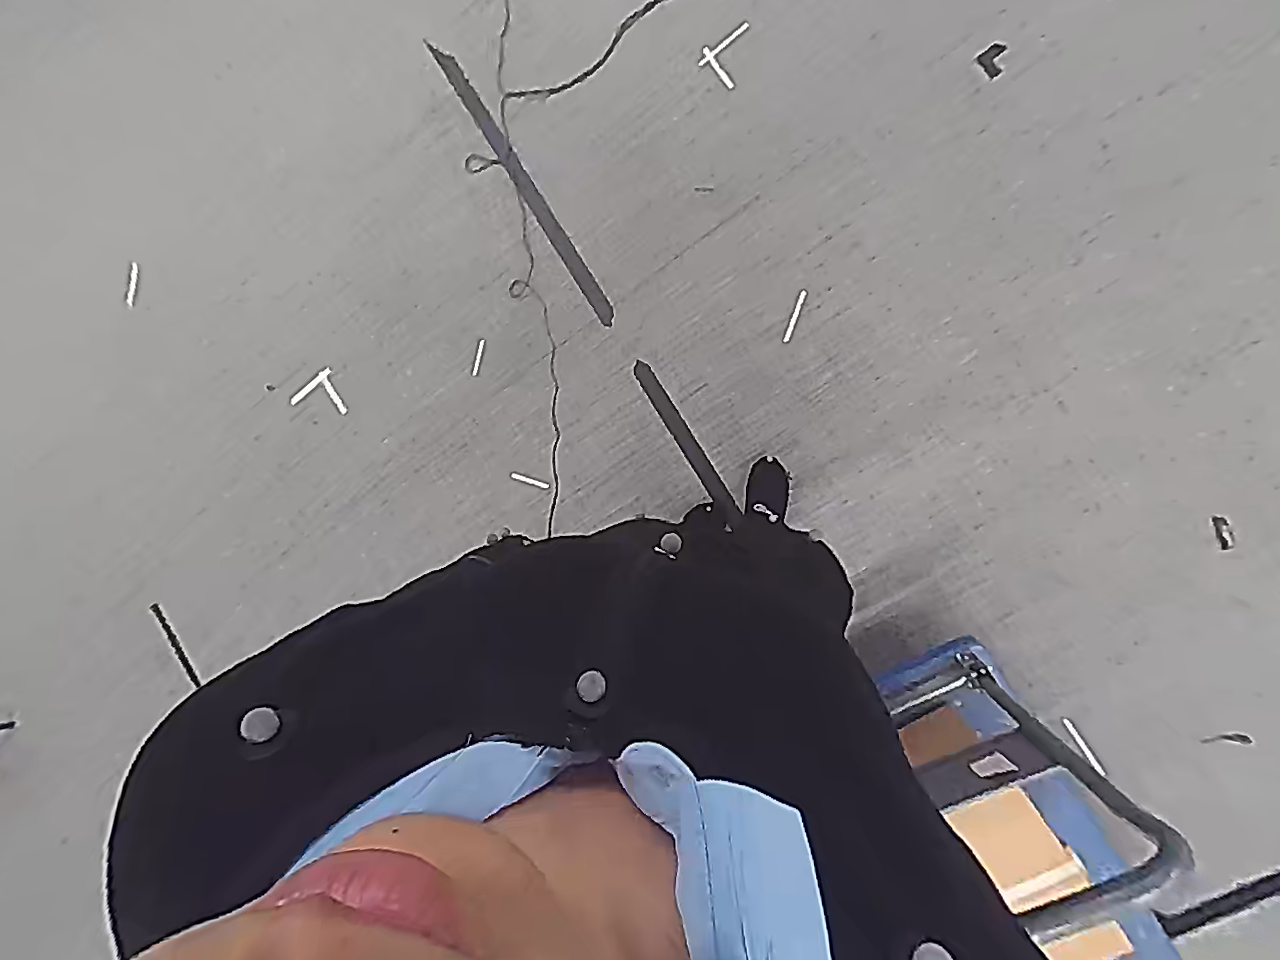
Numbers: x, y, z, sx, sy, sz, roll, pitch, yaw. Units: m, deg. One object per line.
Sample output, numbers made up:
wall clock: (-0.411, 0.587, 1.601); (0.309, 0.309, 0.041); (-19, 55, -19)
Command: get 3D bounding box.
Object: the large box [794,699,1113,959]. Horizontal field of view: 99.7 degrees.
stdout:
large box: (0.572, 0.723, 1.083); (0.408, 0.320, 0.320); (-35, 84, 11)
